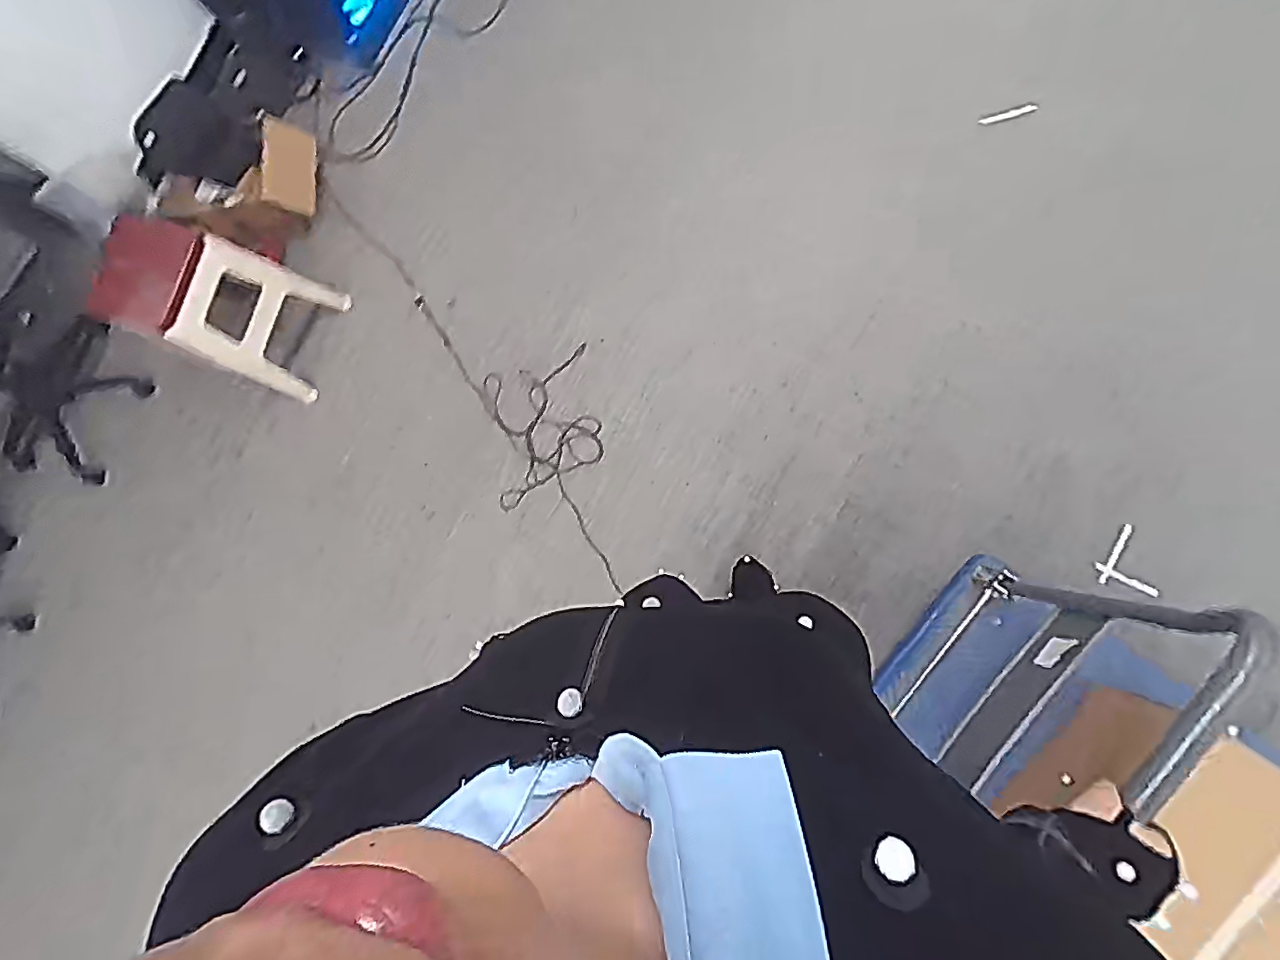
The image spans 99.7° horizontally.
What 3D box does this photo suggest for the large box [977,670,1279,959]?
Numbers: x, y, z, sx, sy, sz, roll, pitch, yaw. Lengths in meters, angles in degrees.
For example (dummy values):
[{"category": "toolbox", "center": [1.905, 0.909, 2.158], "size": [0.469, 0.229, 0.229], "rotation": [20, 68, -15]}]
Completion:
[{"category": "large box", "center": [0.901, 0.615, 0.950], "size": [0.320, 0.320, 0.408], "rotation": [38, 90, 14]}]
